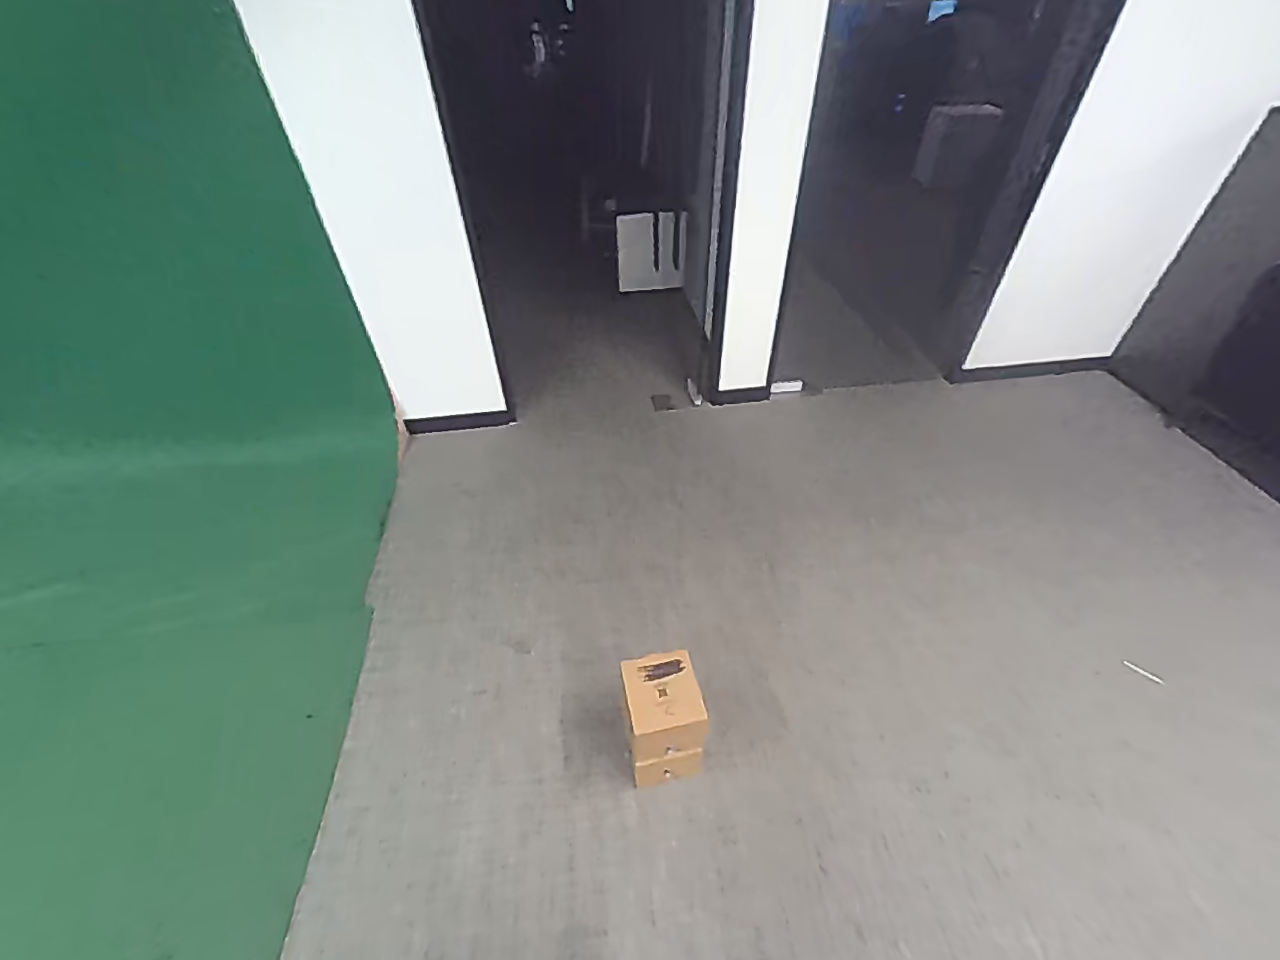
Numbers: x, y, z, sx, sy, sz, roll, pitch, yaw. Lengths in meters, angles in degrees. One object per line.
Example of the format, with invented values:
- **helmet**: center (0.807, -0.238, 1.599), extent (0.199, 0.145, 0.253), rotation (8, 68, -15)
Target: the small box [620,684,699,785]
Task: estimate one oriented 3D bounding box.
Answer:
- **small box**: center (0.047, 0.658, 1.388), extent (0.168, 0.176, 0.179), rotation (-10, 44, -9)
